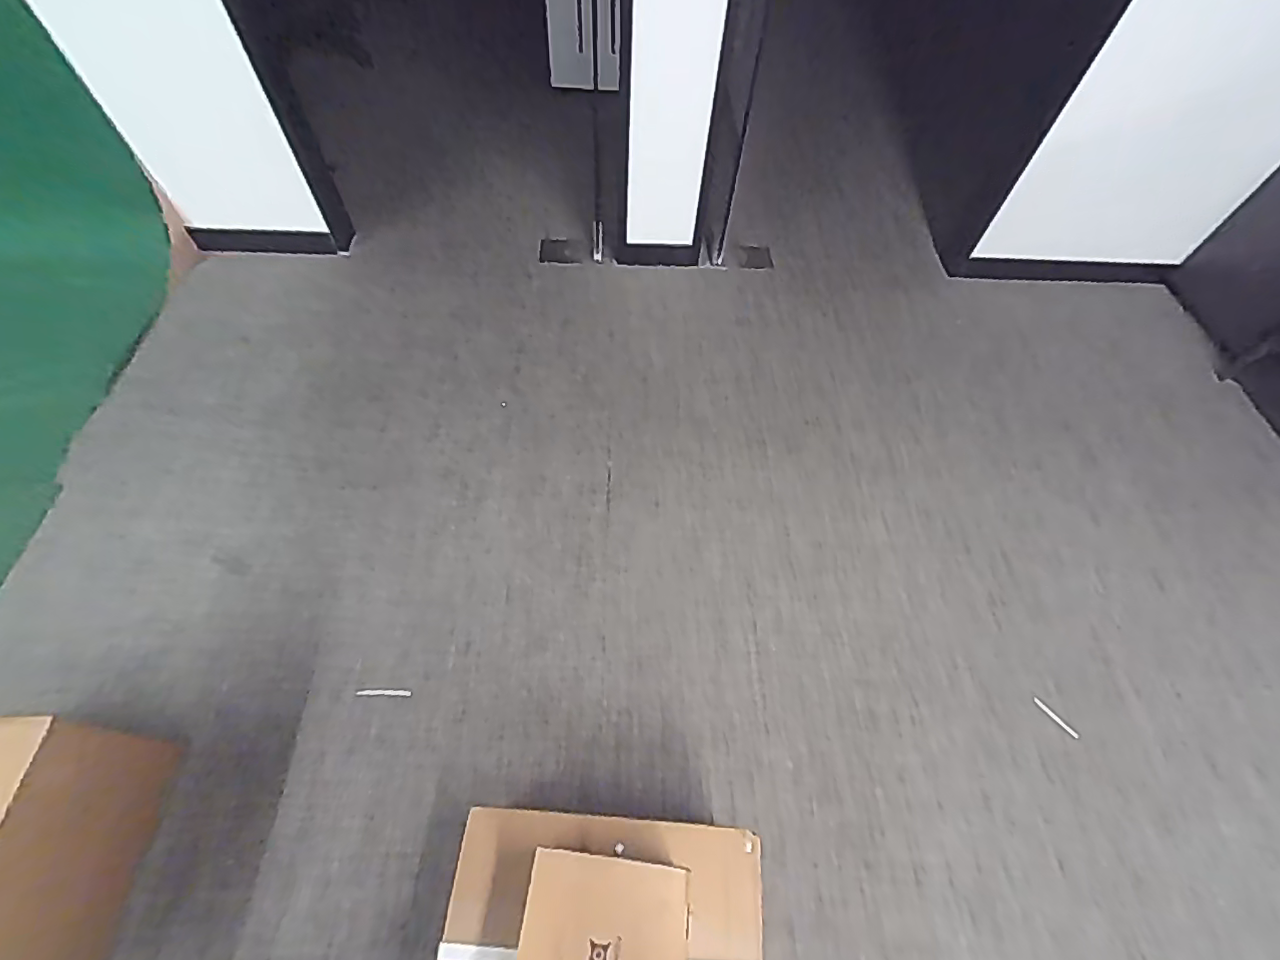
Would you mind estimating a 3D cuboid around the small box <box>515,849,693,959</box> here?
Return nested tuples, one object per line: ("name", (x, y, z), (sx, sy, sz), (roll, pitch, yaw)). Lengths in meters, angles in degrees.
("small box", (-0.044, 0.531, 0.615), (0.179, 0.176, 0.168), (8, 54, 2))

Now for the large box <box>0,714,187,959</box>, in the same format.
("large box", (-1.006, 0.596, 0.804), (0.320, 0.320, 0.408), (0, 56, -3))
